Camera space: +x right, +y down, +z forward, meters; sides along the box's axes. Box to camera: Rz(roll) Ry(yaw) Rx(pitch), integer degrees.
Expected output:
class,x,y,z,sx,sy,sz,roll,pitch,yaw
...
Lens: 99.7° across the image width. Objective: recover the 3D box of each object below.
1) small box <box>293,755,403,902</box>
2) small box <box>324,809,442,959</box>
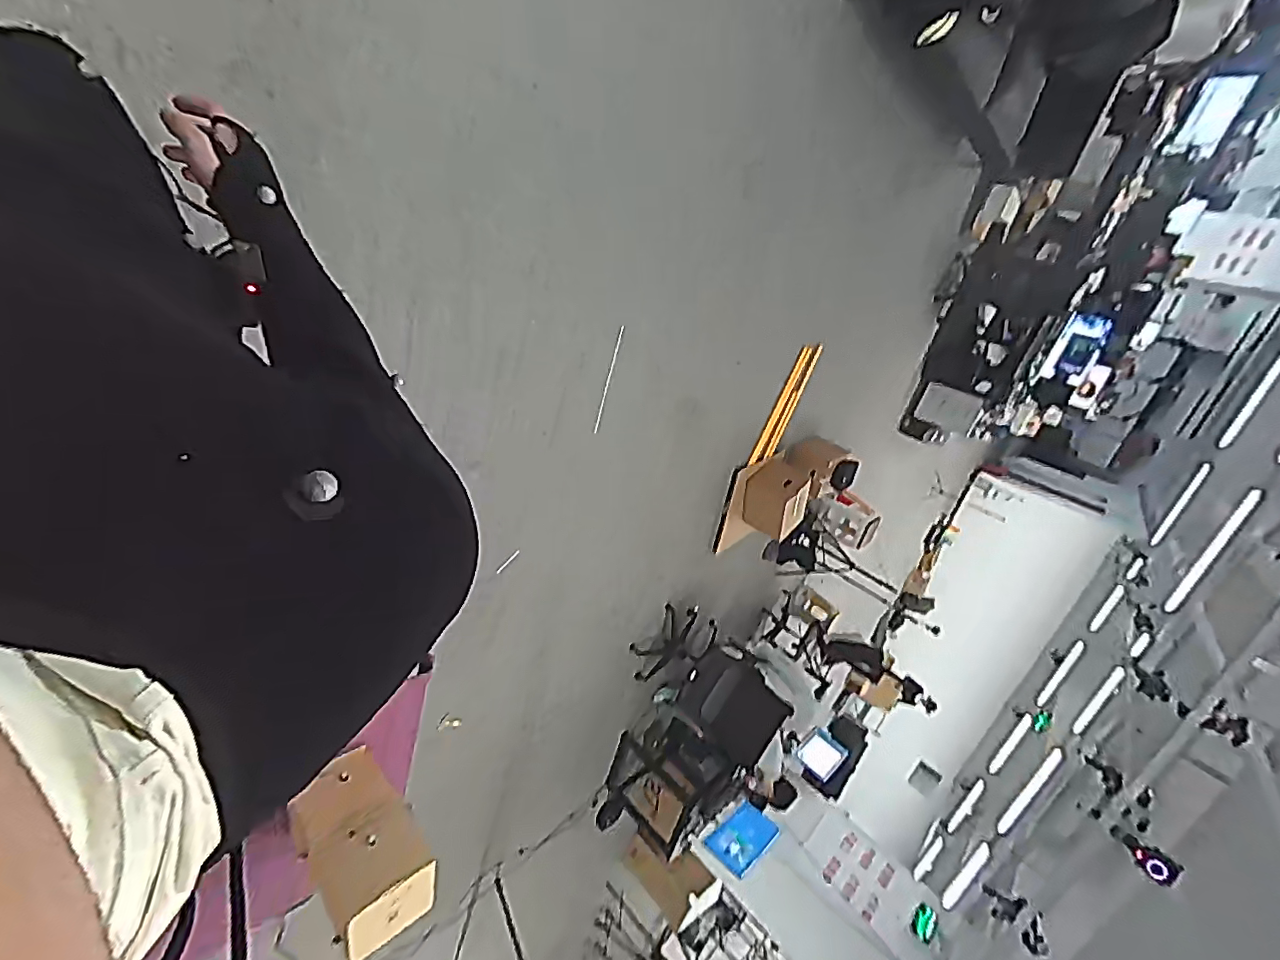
class,x,y,z,sx,sy,sz,roll,pitch,yaw
small box,-0.638,0.750,1.182,0.168,0.176,0.179,-14,125,-44
small box,-0.519,0.818,1.091,0.168,0.176,0.179,-15,126,-44
